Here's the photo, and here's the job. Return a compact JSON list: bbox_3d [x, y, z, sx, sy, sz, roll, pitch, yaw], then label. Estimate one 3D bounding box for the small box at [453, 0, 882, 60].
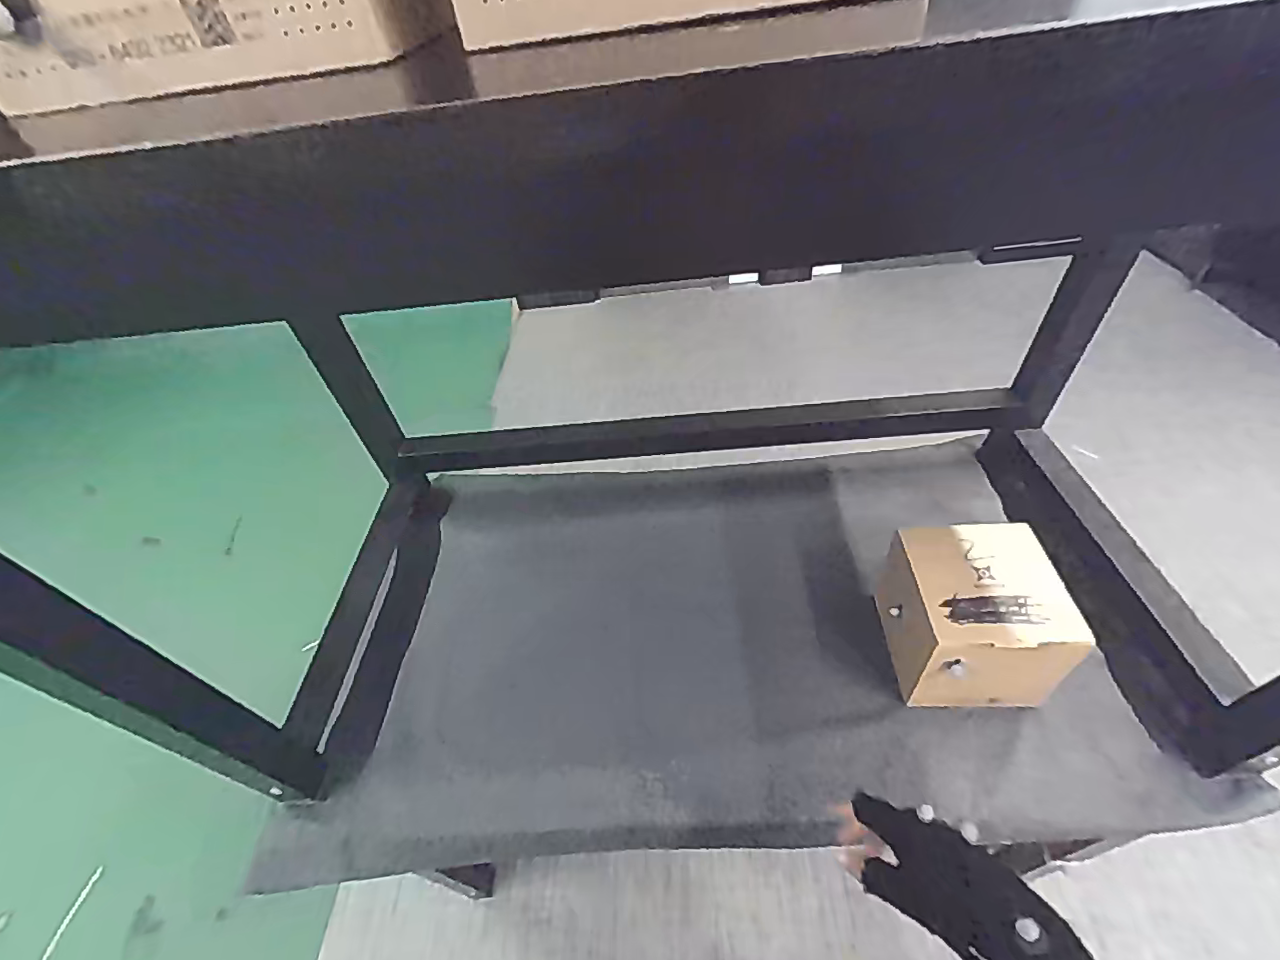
[{"bbox_3d":[0.009,-0.281,0.204,0.179,0.176,0.168,-1,47,7],"label":"small box"}]
